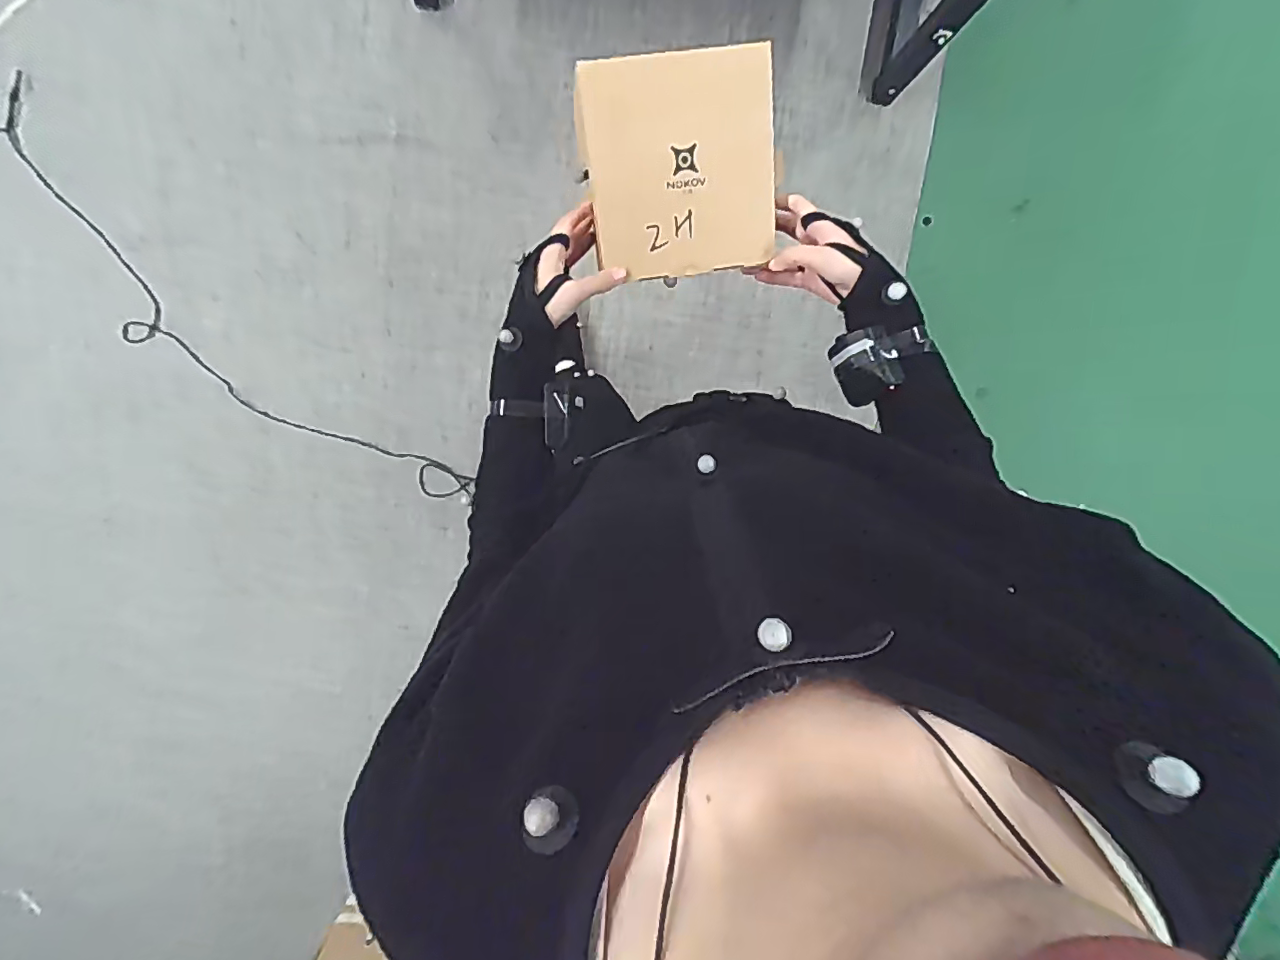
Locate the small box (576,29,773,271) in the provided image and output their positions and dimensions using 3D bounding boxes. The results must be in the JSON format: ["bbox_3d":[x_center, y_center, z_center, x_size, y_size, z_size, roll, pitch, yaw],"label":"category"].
[{"bbox_3d":[0.027,-0.311,0.546,0.168,0.176,0.179,-8,113,-3],"label":"small box"}]
